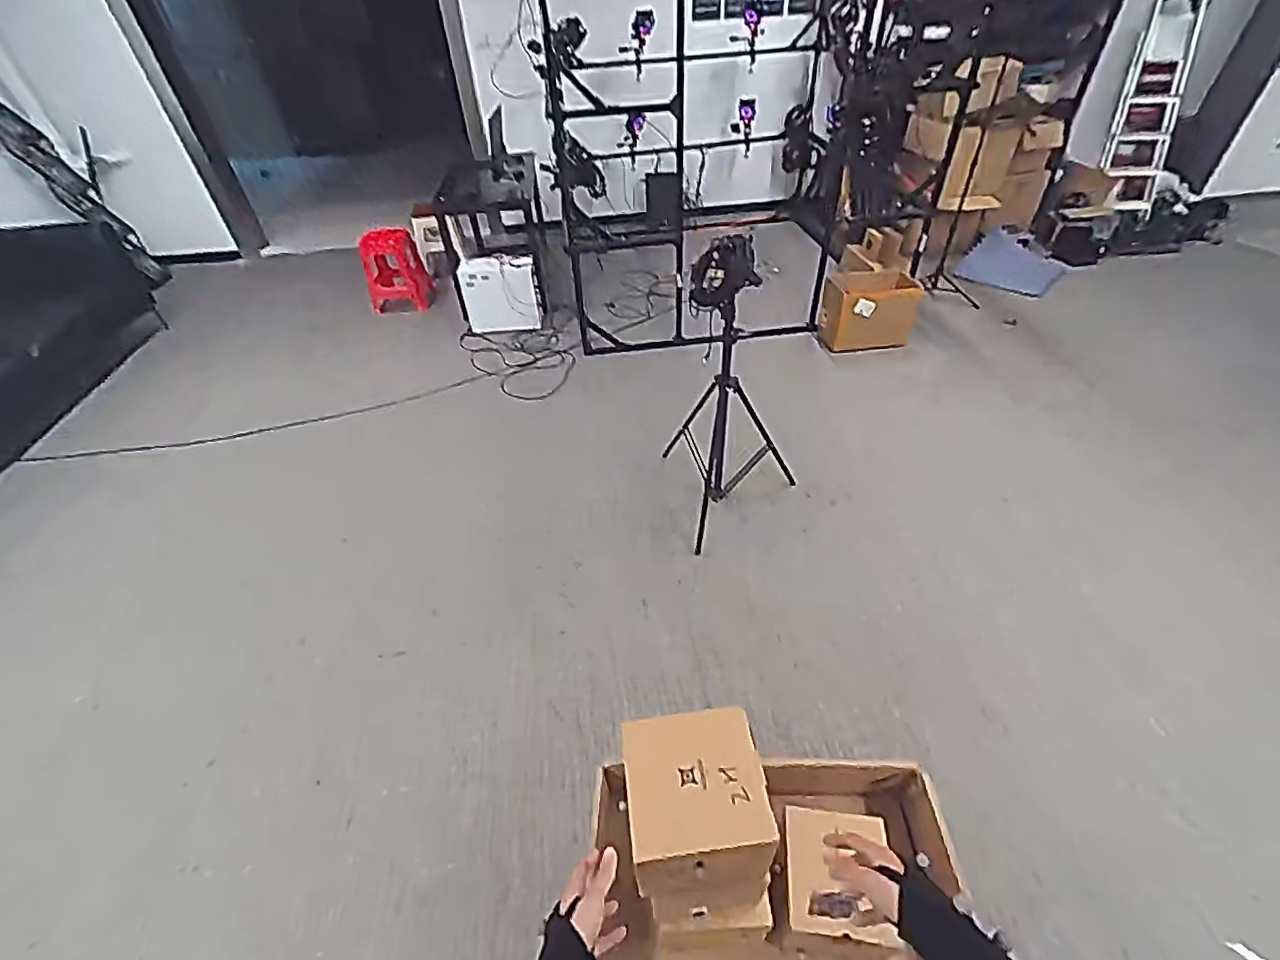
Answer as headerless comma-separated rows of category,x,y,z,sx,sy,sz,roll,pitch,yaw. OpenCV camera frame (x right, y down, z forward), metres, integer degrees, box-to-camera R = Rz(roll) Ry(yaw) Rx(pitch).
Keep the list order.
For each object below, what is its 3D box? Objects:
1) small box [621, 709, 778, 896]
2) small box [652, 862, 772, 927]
small box,0.073,0.439,0.735,0.179,0.176,0.168,-6,42,-3
small box,0.093,0.560,0.844,0.168,0.176,0.179,-7,41,-3
